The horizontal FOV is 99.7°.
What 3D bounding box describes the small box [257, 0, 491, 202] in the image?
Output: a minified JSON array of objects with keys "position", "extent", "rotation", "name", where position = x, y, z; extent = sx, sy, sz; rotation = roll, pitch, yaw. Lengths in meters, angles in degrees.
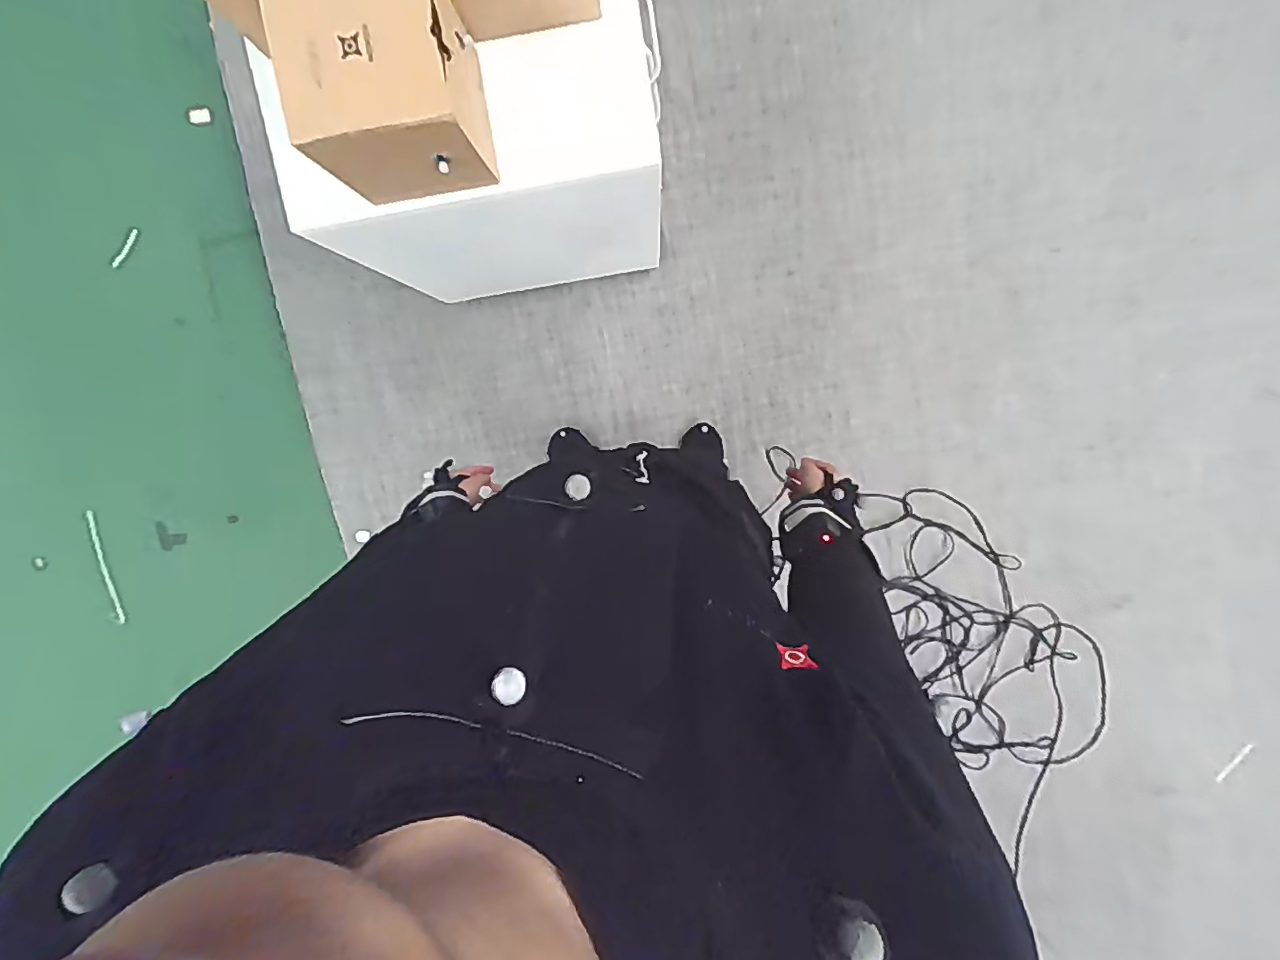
[{"position":[-0.282,-0.444,0.616],"extent":[0.179,0.176,0.168],"rotation":[-9,96,4],"name":"small box"}]
